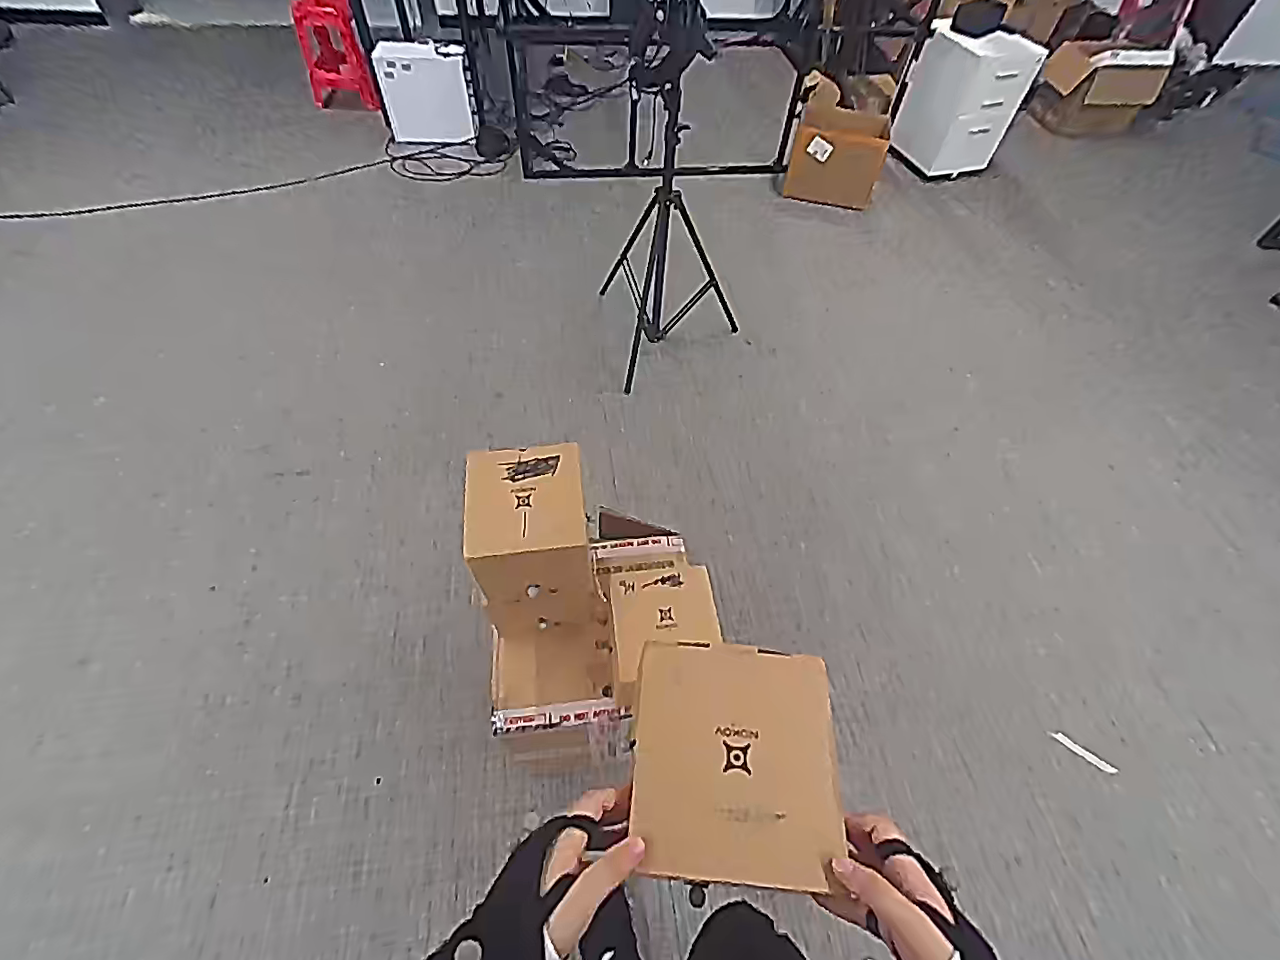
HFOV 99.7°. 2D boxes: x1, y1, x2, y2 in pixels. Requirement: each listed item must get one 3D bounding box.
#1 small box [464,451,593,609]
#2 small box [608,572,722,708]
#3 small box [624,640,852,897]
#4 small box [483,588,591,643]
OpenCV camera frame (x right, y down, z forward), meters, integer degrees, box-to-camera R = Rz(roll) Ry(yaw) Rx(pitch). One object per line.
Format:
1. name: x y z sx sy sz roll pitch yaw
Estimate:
1. small box: -0.163 0.078 0.827 0.168 0.176 0.179 -6 57 -5
2. small box: 0.036 0.273 0.902 0.168 0.176 0.179 -4 57 -8
3. small box: 0.075 0.269 0.503 0.168 0.176 0.179 5 54 1
4. small box: -0.183 0.169 0.964 0.168 0.176 0.179 -9 57 -7
